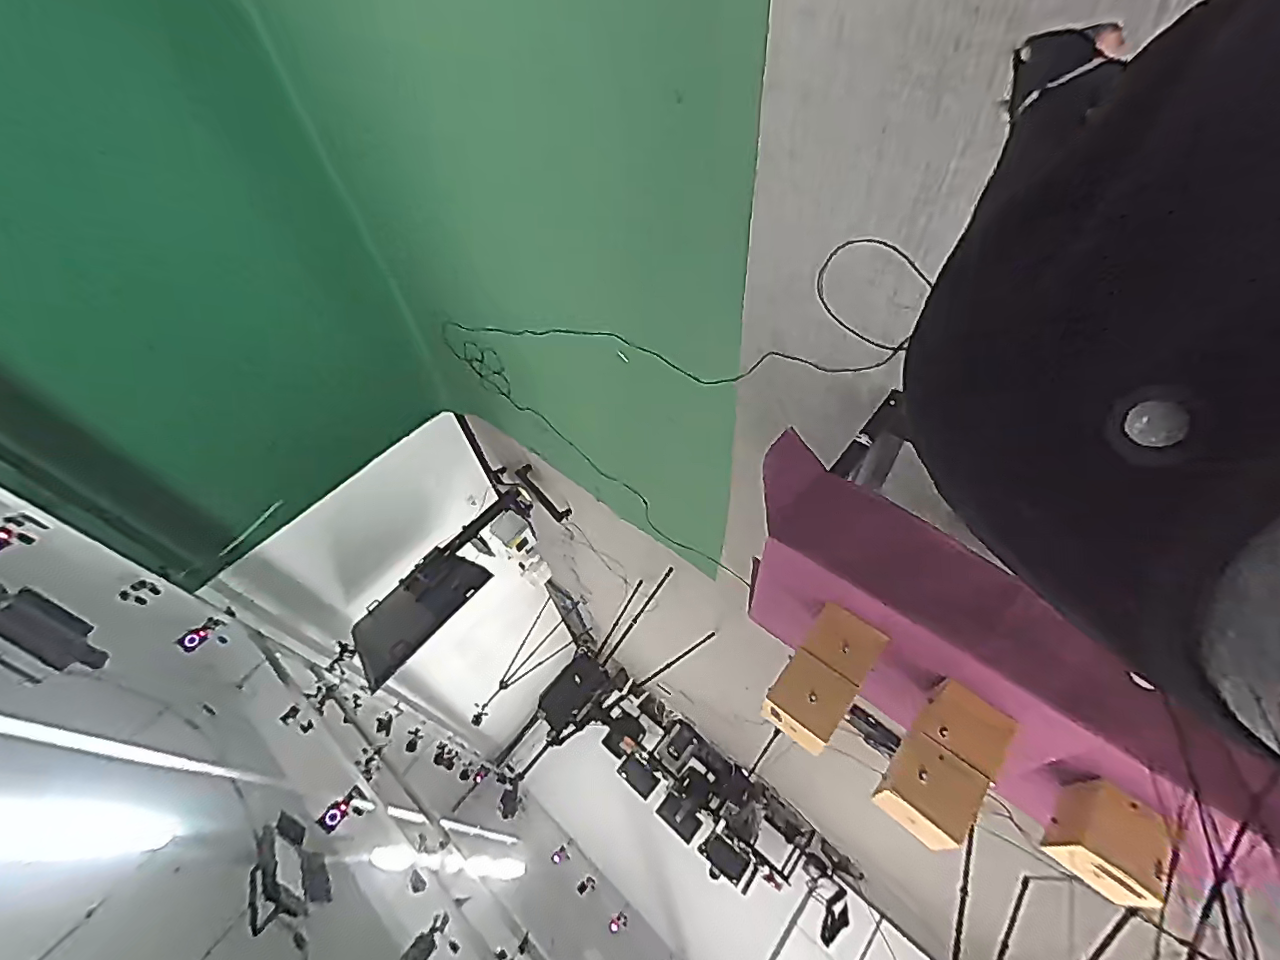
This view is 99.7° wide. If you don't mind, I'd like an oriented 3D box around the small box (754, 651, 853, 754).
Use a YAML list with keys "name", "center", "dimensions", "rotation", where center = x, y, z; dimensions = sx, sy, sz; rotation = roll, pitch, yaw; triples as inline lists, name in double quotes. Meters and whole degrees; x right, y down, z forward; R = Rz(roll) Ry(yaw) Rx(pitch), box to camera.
- name: "small box"
  center: [0.425, 0.575, 1.416]
  dimensions: [0.179, 0.176, 0.168]
  rotation: [32, 153, 26]

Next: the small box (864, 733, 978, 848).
- name: "small box"
  center: [0.670, 0.736, 1.291]
  dimensions: [0.168, 0.176, 0.179]
  rotation: [35, 154, 26]

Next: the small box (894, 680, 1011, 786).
- name: "small box"
  center: [0.782, 0.637, 1.355]
  dimensions: [0.179, 0.176, 0.168]
  rotation: [35, 154, 25]

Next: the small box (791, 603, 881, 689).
- name: "small box"
  center: [0.532, 0.472, 1.487]
  dimensions: [0.179, 0.176, 0.168]
  rotation: [31, 152, 27]
